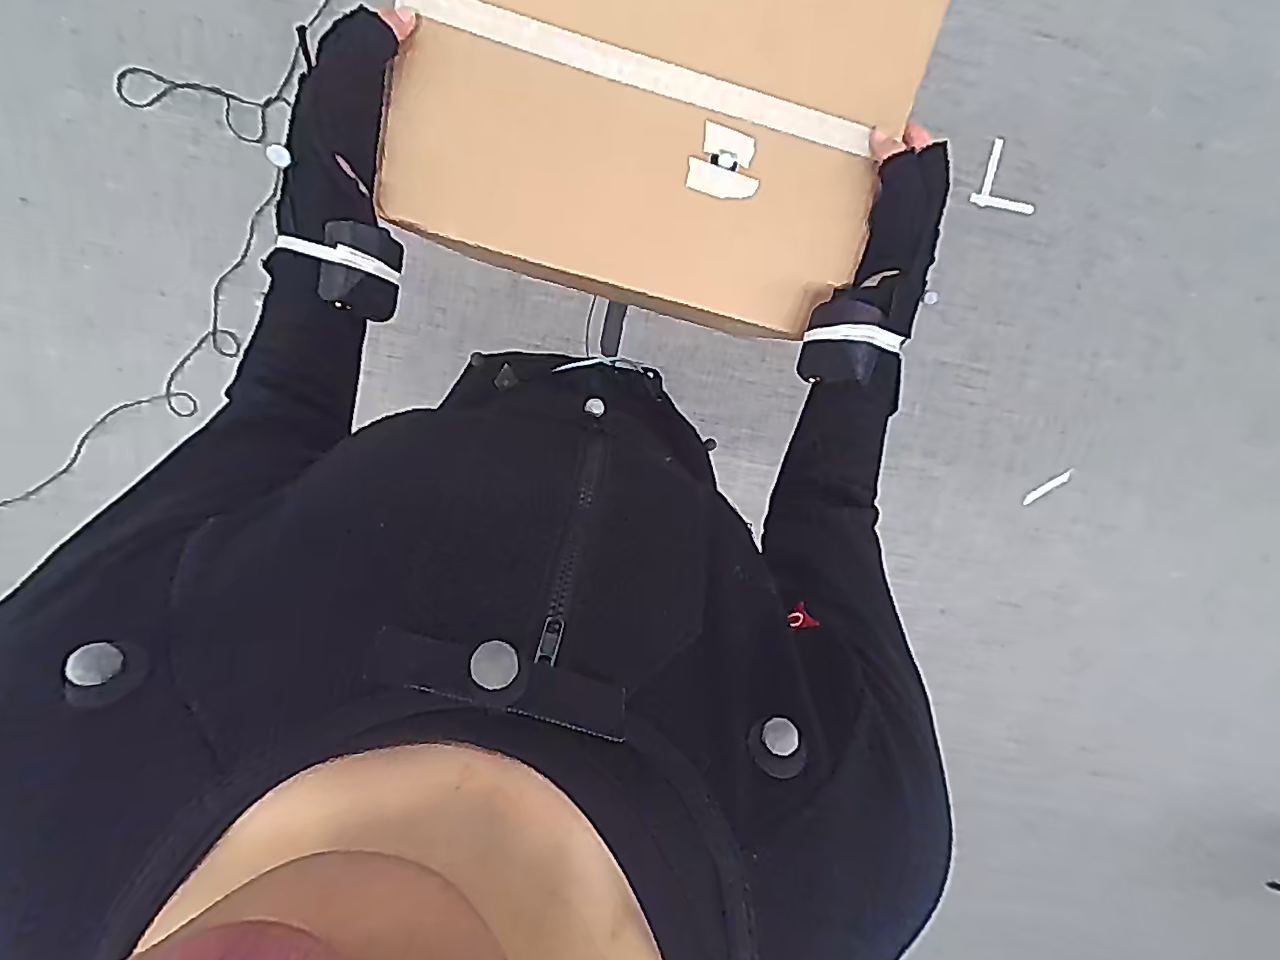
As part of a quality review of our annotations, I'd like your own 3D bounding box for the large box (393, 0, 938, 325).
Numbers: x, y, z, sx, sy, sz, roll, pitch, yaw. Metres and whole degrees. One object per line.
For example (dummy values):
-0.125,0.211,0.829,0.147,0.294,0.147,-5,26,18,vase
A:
0.009,-0.366,0.575,0.408,0.320,0.320,13,106,-7,large box
